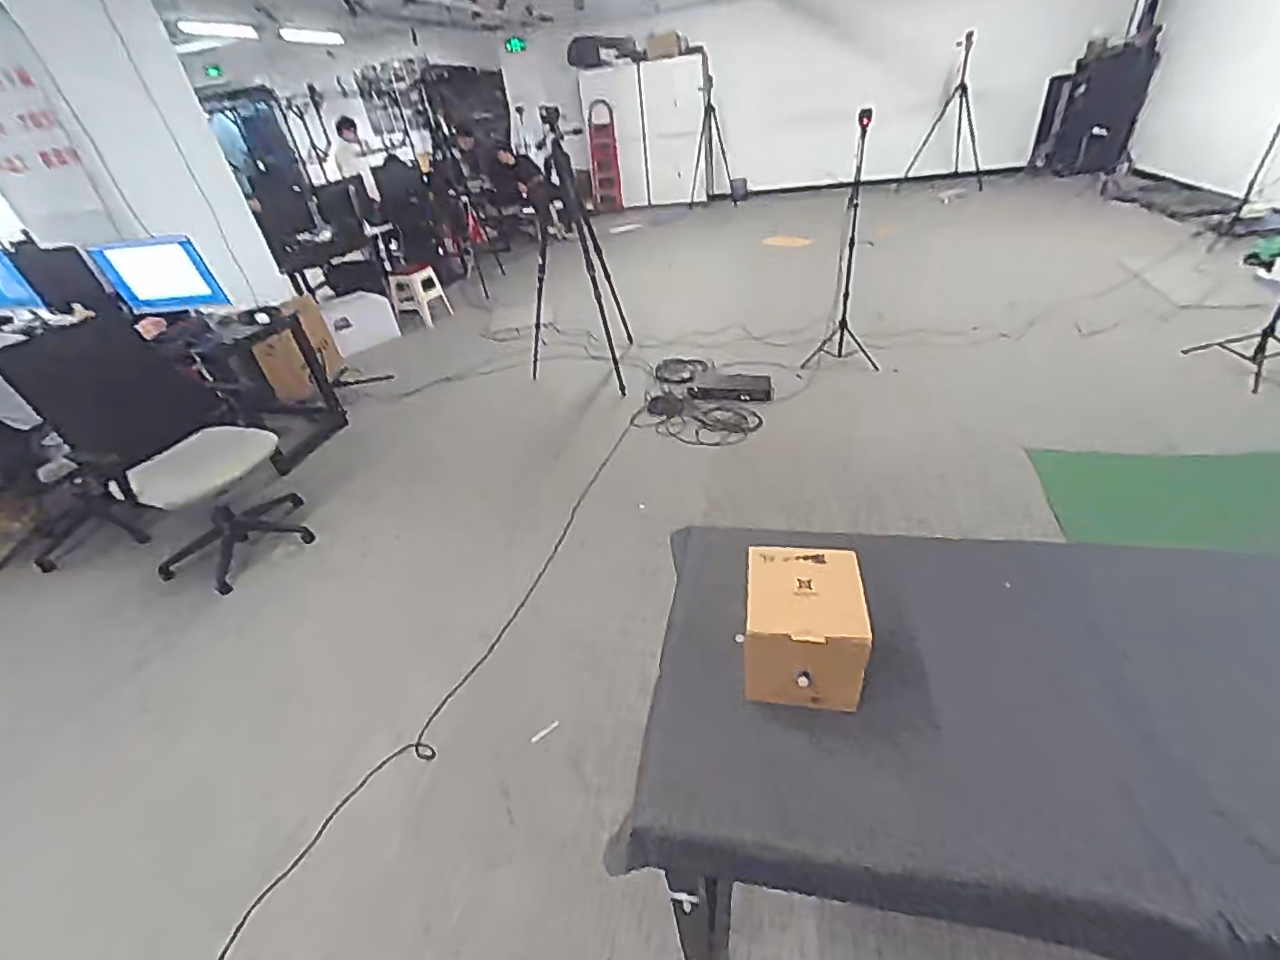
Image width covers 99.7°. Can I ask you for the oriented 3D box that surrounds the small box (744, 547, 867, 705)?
[{"bbox_3d":[0.253,0.228,0.851,0.168,0.176,0.179,1,37,13],"label":"small box"}]
